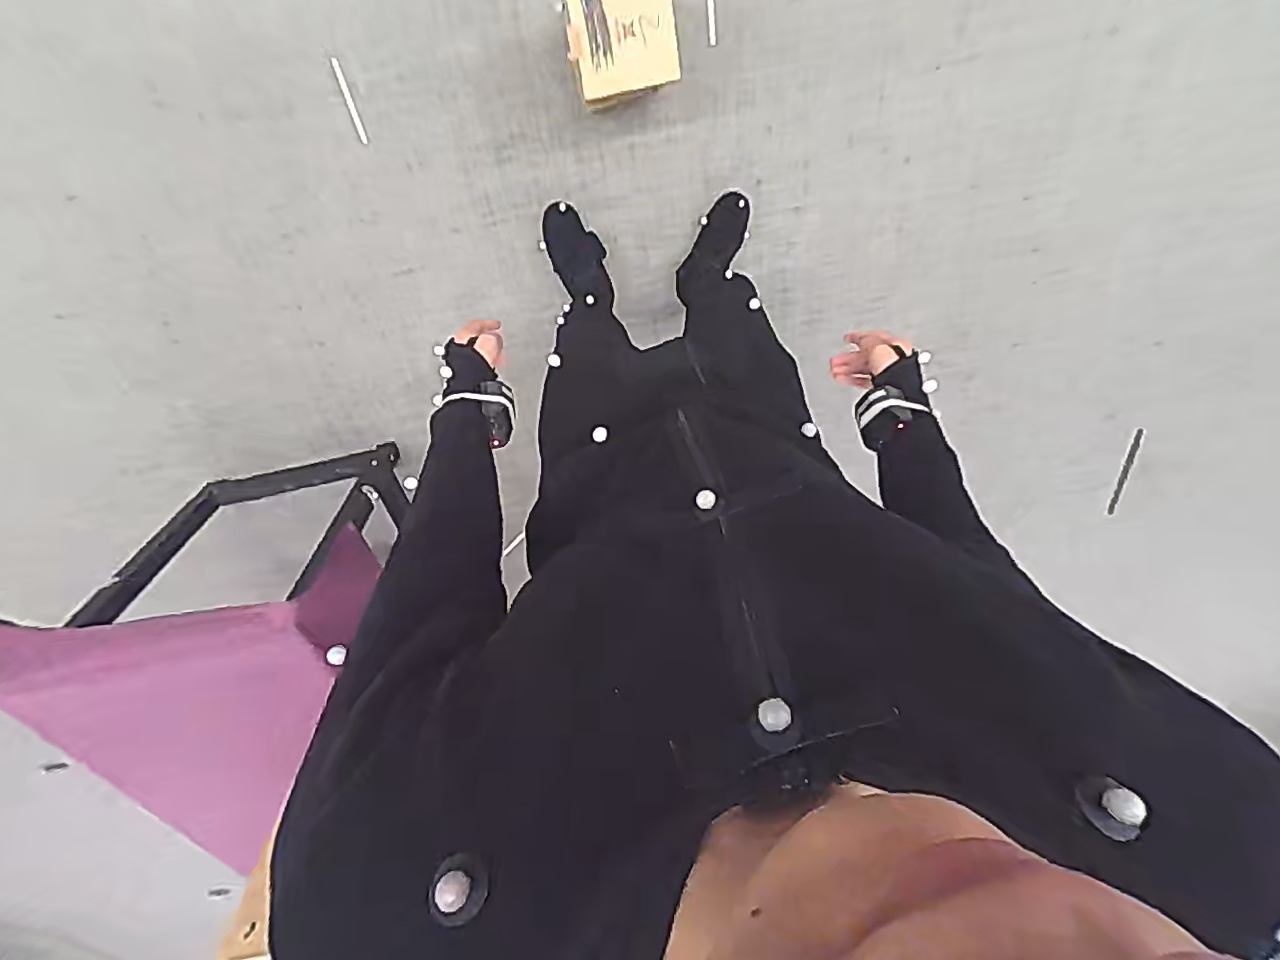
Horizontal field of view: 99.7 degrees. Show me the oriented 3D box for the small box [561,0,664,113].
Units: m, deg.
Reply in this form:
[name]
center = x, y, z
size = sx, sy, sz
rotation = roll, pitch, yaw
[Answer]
[small box]
center = -0.056, -0.874, 1.107
size = 0.168, 0.176, 0.179
rotation = -15, 123, 2
